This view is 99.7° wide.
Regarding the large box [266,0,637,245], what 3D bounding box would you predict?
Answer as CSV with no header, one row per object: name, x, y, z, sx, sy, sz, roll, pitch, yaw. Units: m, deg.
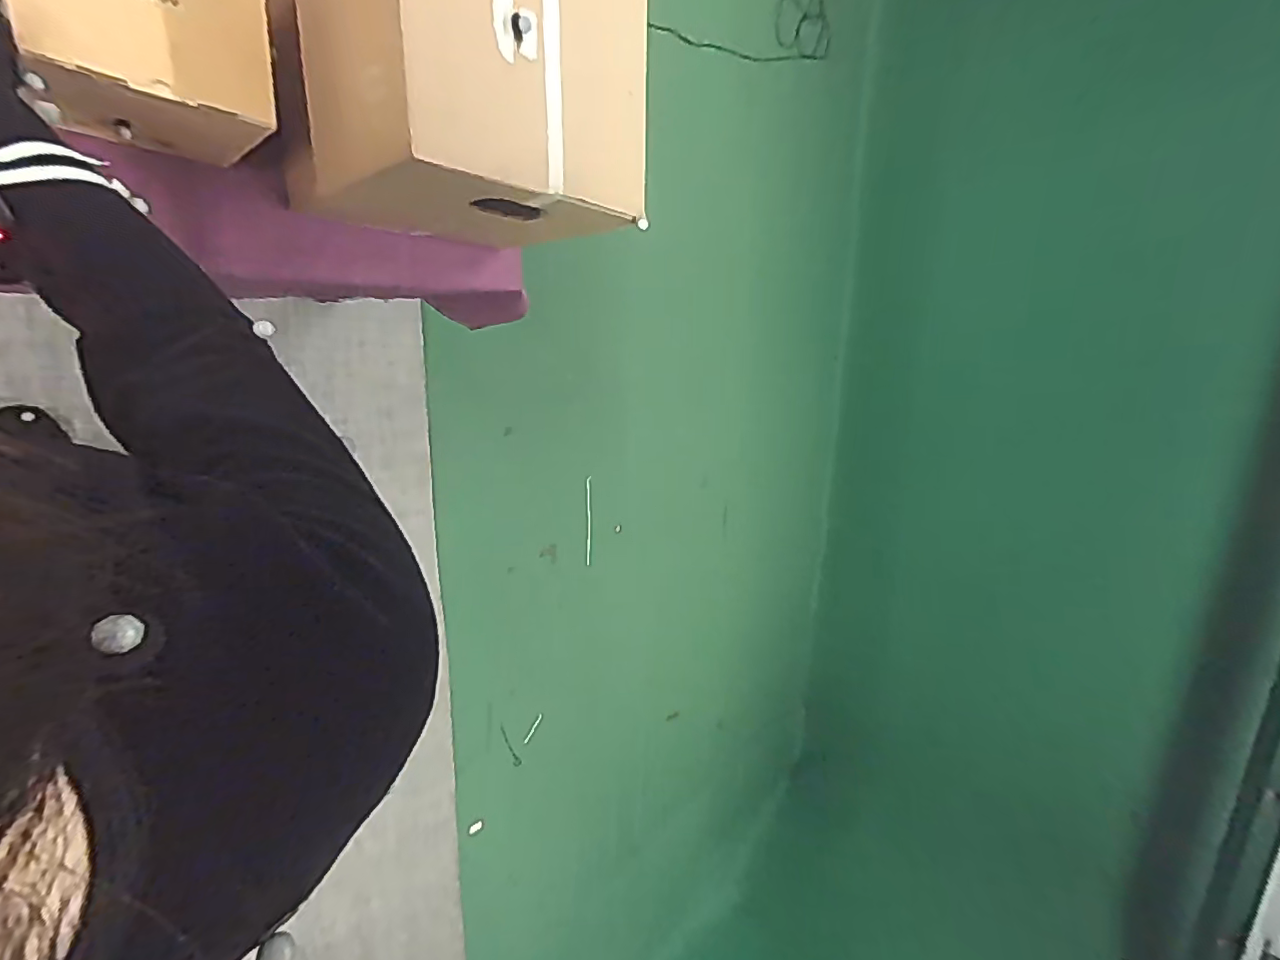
large box,-0.216,-0.528,0.641,0.320,0.320,0.408,-15,111,-48
